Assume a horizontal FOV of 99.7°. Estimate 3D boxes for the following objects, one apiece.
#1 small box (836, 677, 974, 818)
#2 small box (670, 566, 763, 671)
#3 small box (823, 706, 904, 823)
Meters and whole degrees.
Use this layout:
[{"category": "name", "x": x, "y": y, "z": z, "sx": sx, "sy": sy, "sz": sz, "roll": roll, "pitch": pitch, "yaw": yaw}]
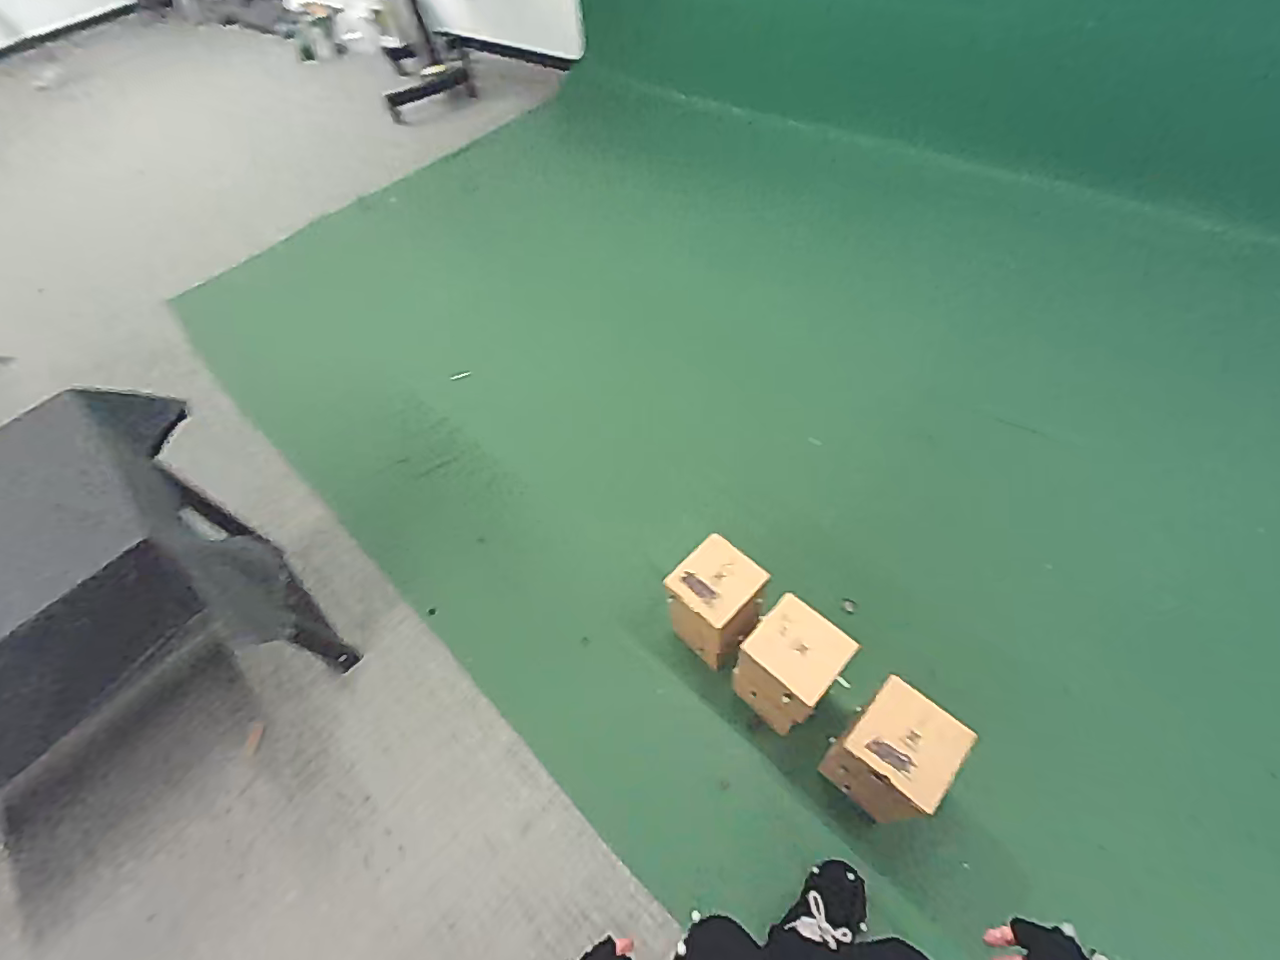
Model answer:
[{"category": "small box", "x": 0.504, "y": 0.525, "z": 1.054, "sx": 0.168, "sy": 0.176, "sz": 0.179, "roll": 36, "pitch": 67, "yaw": 28}, {"category": "small box", "x": 0.203, "y": 0.366, "z": 1.414, "sx": 0.179, "sy": 0.176, "sz": 0.168, "roll": -38, "pitch": 59, "yaw": -17}, {"category": "small box", "x": 0.524, "y": 0.617, "z": 1.189, "sx": 0.168, "sy": 0.176, "sz": 0.179, "roll": 36, "pitch": 68, "yaw": 28}]
